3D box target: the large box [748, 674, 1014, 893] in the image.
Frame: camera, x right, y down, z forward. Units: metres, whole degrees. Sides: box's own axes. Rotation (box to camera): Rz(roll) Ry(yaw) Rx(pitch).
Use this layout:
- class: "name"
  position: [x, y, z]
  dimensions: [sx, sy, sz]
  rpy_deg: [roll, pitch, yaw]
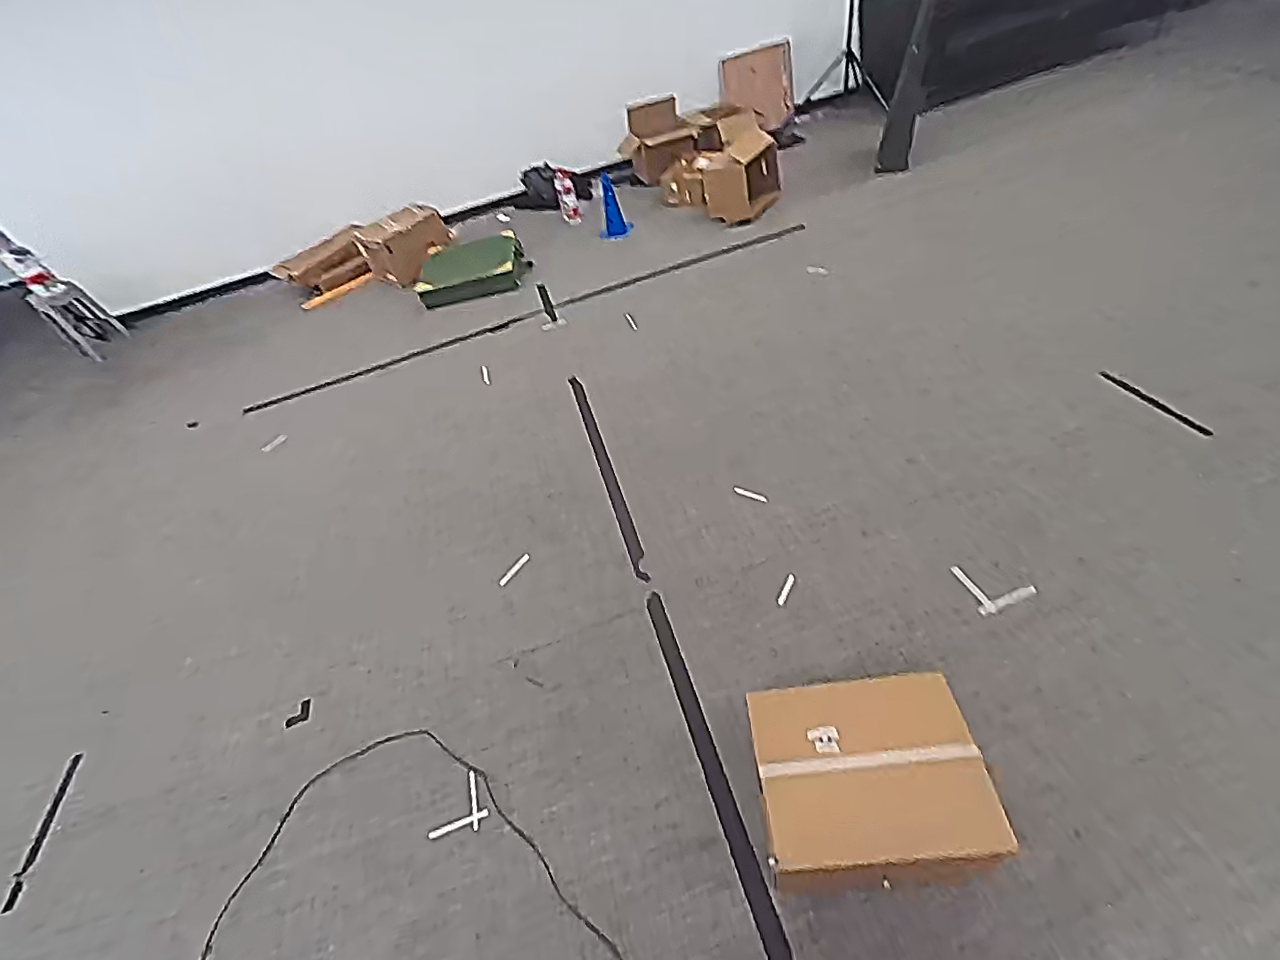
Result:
- class: "large box"
  position: [0.465, 0.647, 1.140]
  dimensions: [0.408, 0.320, 0.320]
  rpy_deg: [-10, 45, 7]
